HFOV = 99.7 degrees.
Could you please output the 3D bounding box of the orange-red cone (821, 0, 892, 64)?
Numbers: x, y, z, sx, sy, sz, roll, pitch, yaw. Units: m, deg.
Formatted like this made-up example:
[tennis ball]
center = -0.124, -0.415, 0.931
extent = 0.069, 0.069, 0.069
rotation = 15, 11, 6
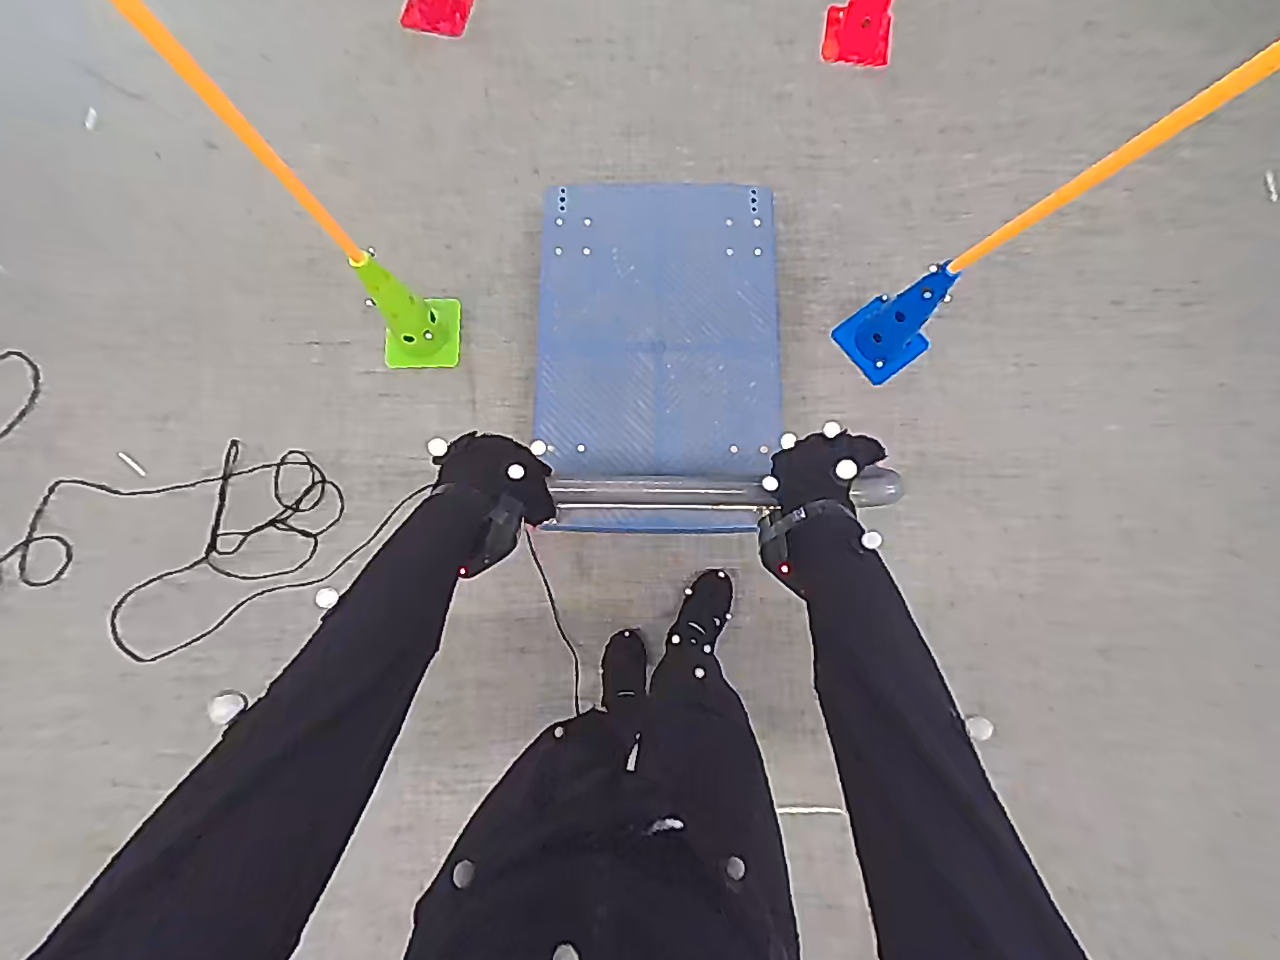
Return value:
[orange-red cone]
center = 0.651, -1.377, 1.466
extent = 0.198, 0.360, 0.199
rotation = 10, 81, 3
